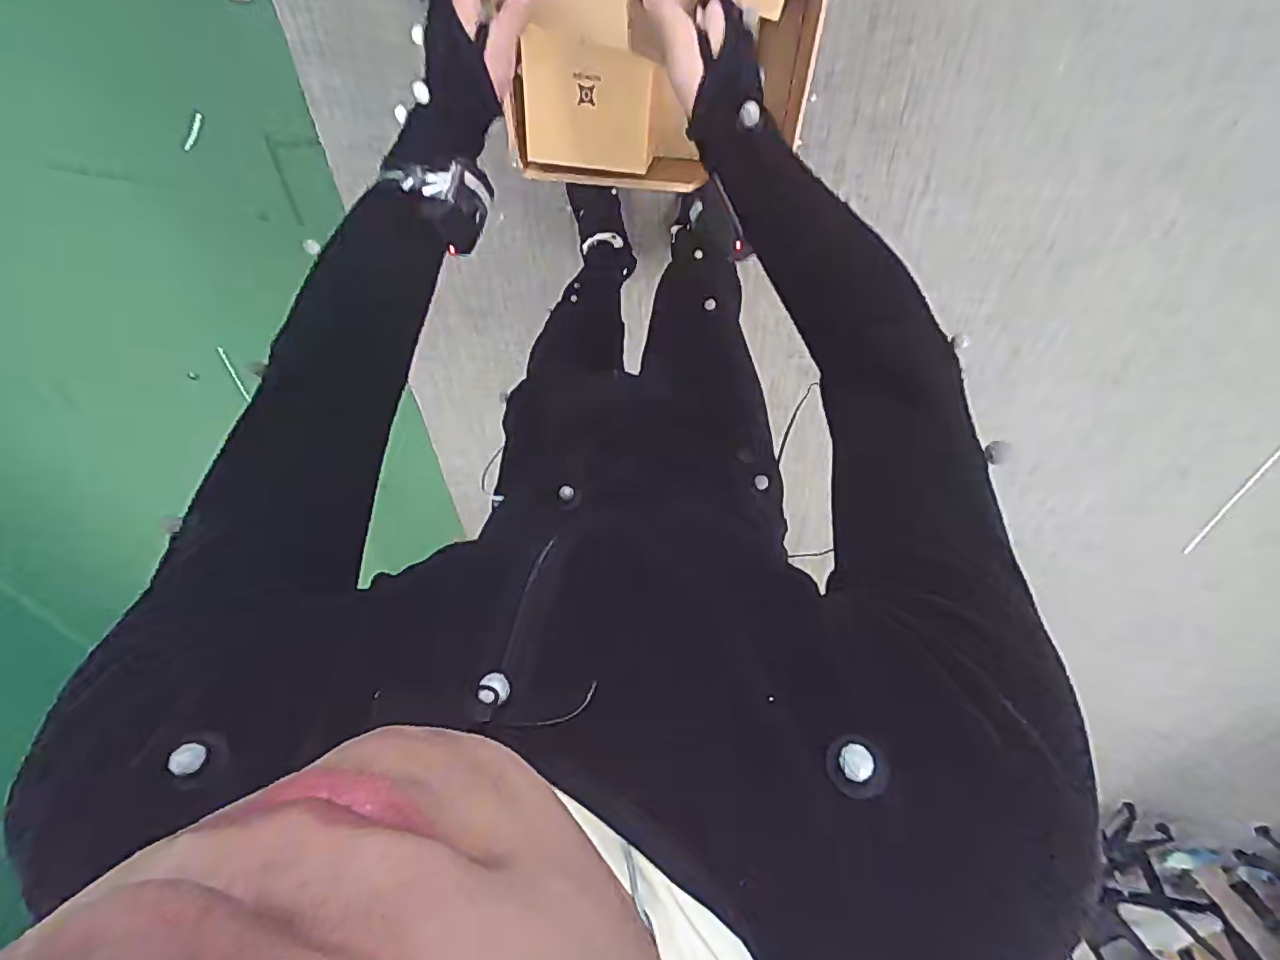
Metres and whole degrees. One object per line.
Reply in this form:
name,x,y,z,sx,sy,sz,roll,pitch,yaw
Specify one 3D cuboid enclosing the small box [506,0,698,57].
small box,-0.024,-0.505,0.469,0.179,0.176,0.168,11,134,-9
